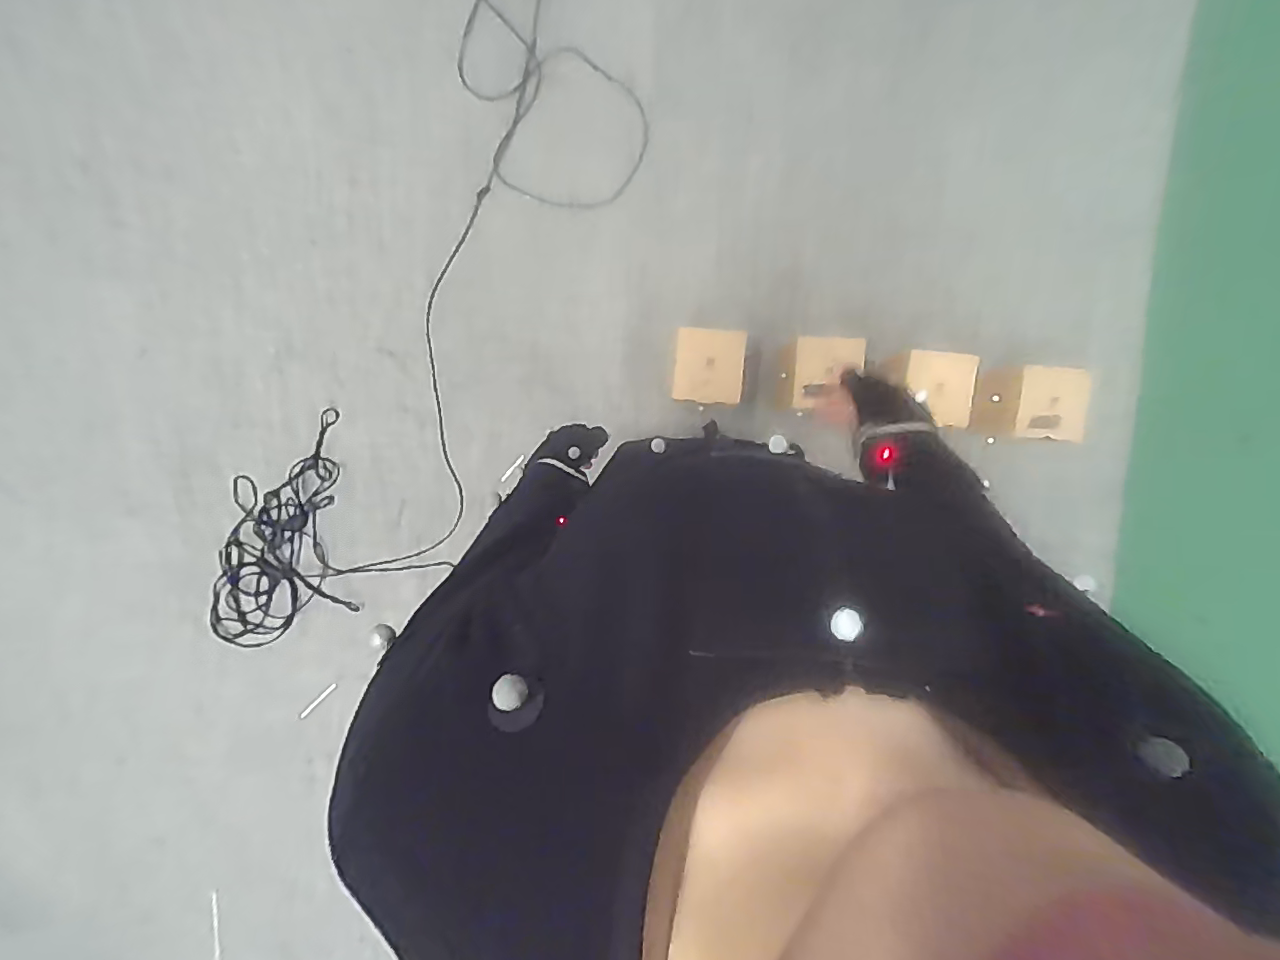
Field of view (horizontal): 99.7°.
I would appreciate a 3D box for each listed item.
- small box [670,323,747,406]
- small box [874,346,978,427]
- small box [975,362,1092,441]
[{"bbox_3d":[0.166,-0.285,1.368,0.168,0.176,0.179,5,95,1],"label":"small box"},{"bbox_3d":[0.712,-0.229,1.364,0.168,0.176,0.179,5,95,0],"label":"small box"},{"bbox_3d":[0.979,-0.194,1.363,0.168,0.176,0.179,5,94,0],"label":"small box"}]
